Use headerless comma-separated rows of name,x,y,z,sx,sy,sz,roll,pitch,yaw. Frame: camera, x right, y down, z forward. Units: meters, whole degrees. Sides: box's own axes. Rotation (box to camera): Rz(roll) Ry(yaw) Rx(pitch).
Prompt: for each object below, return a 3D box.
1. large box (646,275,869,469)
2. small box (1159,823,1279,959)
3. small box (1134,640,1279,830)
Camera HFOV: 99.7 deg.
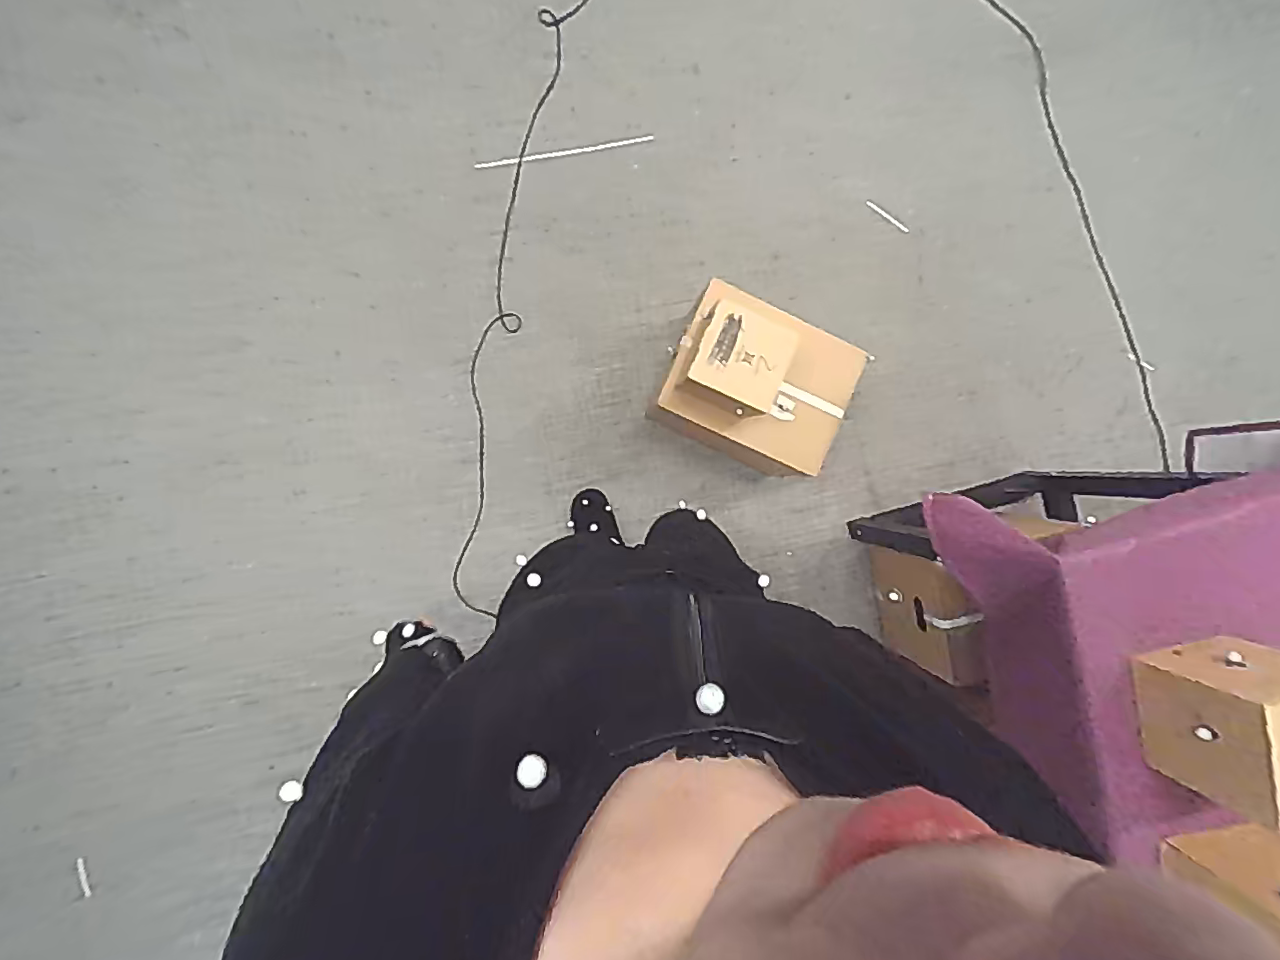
large box,0.266,-0.245,1.354,0.408,0.320,0.320,24,91,-6
small box,0.912,0.631,0.778,0.179,0.176,0.168,-6,92,-4
small box,0.851,0.339,0.760,0.168,0.176,0.179,-11,92,-4
